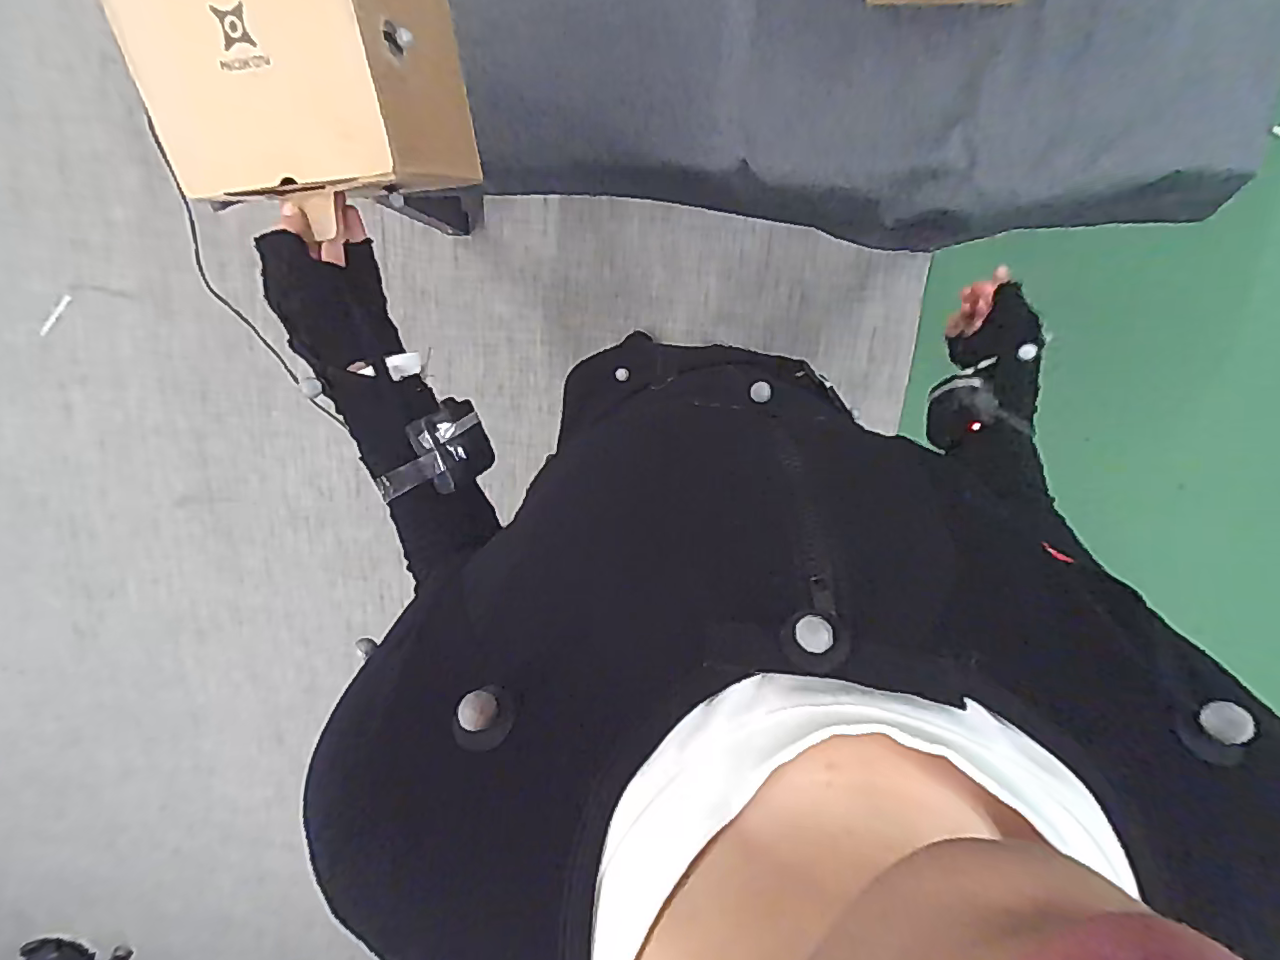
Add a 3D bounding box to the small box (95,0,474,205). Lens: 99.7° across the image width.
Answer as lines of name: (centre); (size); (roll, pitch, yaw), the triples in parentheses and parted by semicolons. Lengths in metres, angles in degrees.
small box: (-0.244, -0.313, 0.406); (0.168, 0.176, 0.179); (-3, 117, 7)
